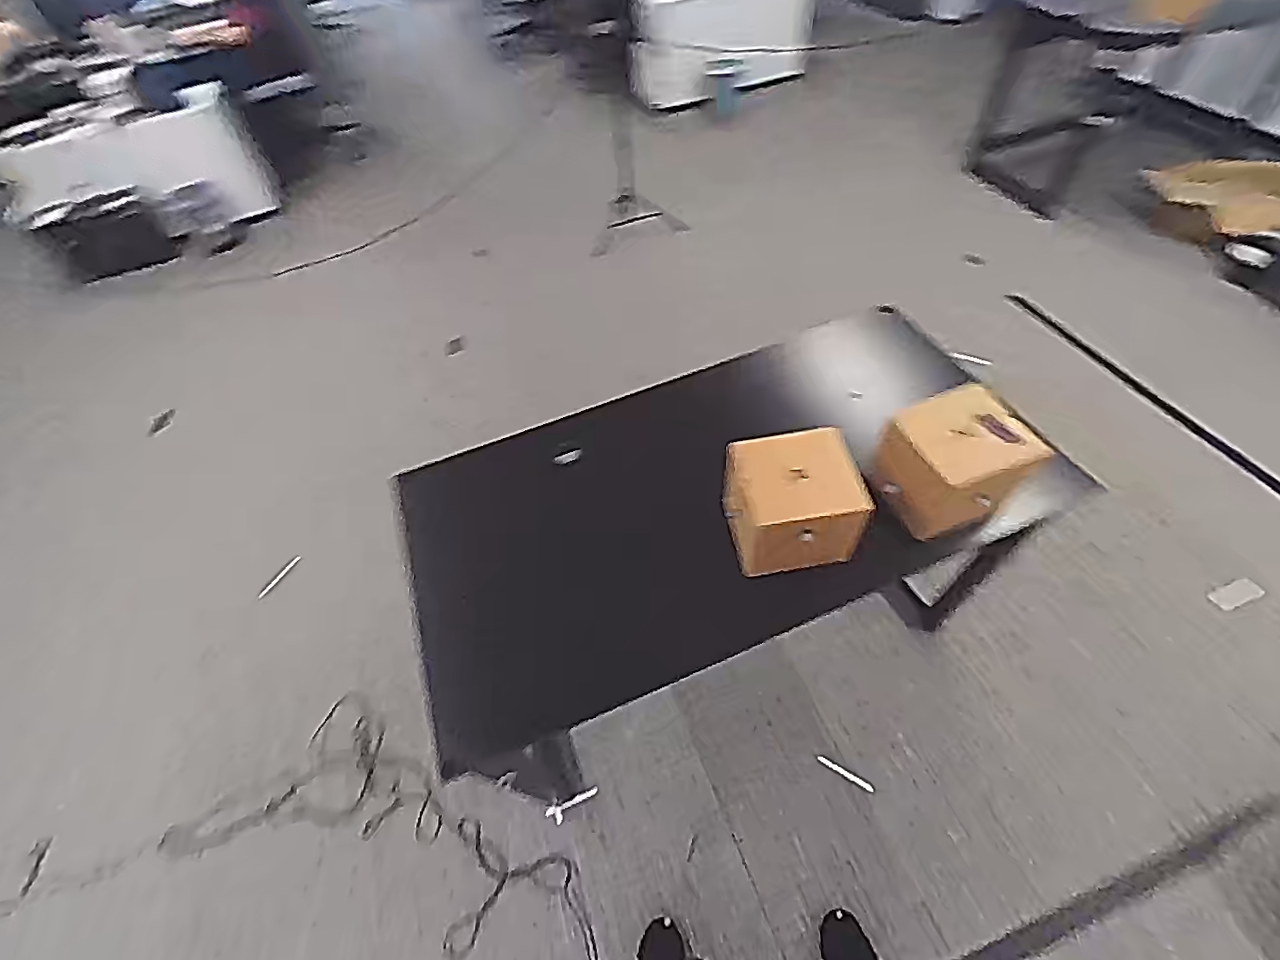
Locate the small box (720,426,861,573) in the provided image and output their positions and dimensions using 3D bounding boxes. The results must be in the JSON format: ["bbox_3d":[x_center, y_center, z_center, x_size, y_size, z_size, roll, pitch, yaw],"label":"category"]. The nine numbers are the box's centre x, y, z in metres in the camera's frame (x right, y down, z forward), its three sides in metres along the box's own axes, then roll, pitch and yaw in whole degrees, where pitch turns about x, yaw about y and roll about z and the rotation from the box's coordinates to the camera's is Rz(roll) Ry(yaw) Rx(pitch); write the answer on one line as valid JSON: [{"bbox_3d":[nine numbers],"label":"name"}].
[{"bbox_3d":[0.238,0.036,0.906,0.179,0.176,0.168,-11,53,-1],"label":"small box"}]

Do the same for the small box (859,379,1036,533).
[{"bbox_3d":[0.508,-0.037,0.925,0.179,0.176,0.168,-21,54,-7],"label":"small box"}]
